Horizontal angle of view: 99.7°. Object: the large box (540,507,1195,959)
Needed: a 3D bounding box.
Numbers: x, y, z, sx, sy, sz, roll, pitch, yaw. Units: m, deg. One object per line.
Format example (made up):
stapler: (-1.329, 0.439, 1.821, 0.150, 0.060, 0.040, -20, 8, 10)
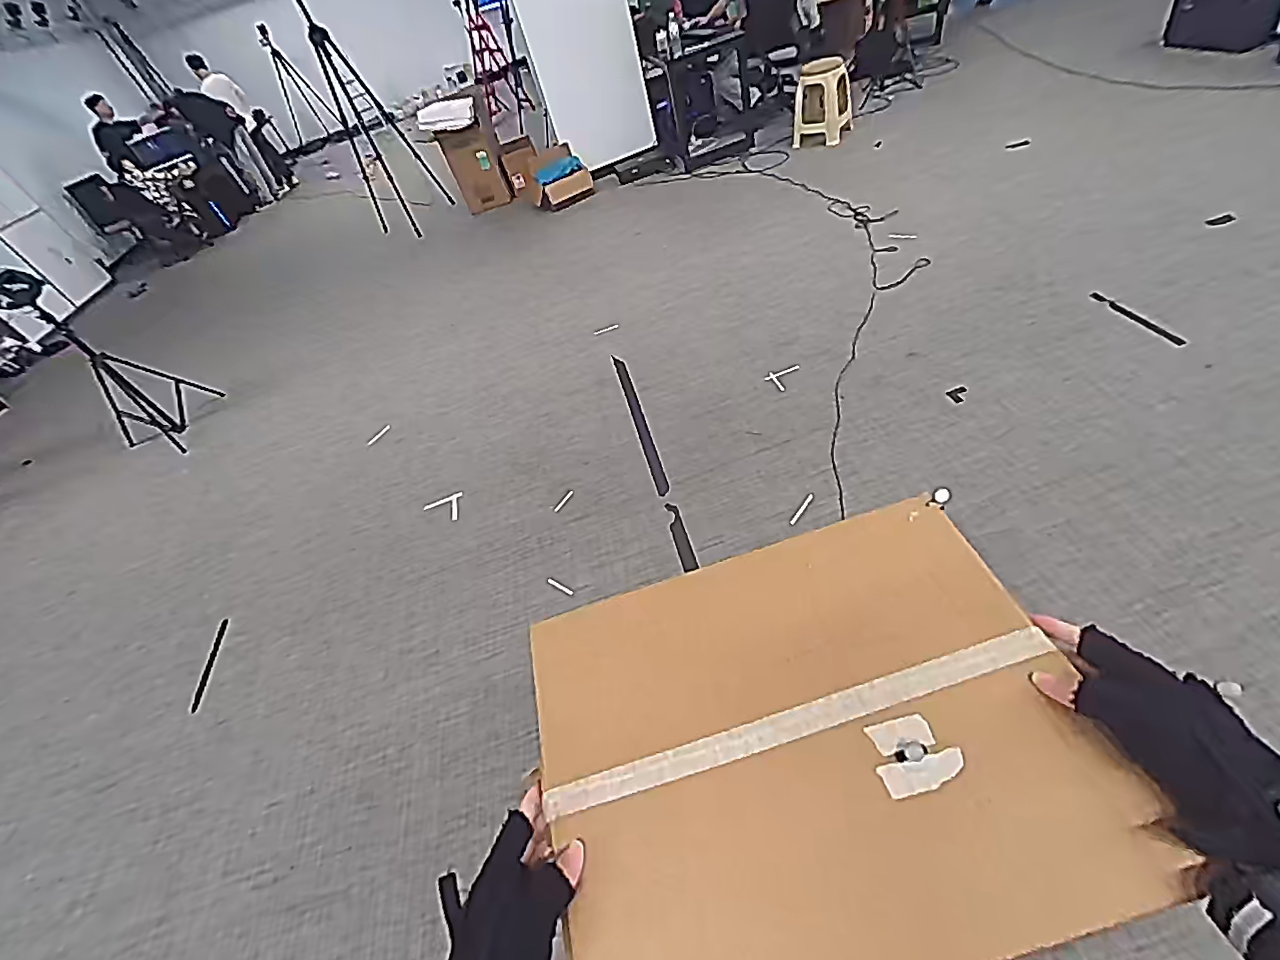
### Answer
large box: (0.155, 0.292, 0.542, 0.408, 0.320, 0.320, -19, 49, 0)
